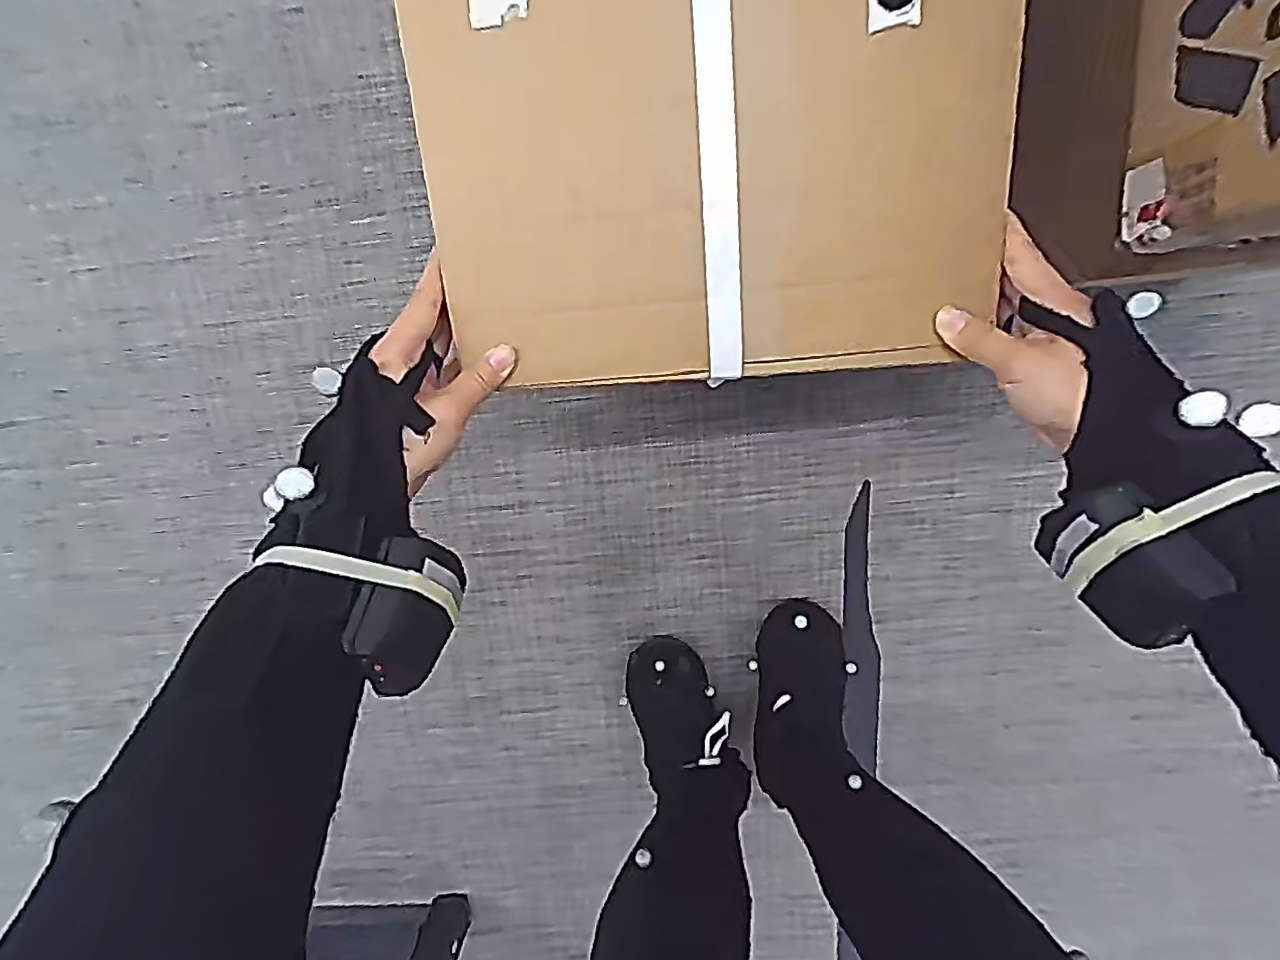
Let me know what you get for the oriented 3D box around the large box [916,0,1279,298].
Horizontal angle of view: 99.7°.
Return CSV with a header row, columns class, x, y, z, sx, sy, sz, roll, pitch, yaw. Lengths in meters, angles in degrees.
class,x,y,z,sx,sy,sz,roll,pitch,yaw
large box,0.429,-0.371,0.404,0.320,0.320,0.408,-6,105,4
